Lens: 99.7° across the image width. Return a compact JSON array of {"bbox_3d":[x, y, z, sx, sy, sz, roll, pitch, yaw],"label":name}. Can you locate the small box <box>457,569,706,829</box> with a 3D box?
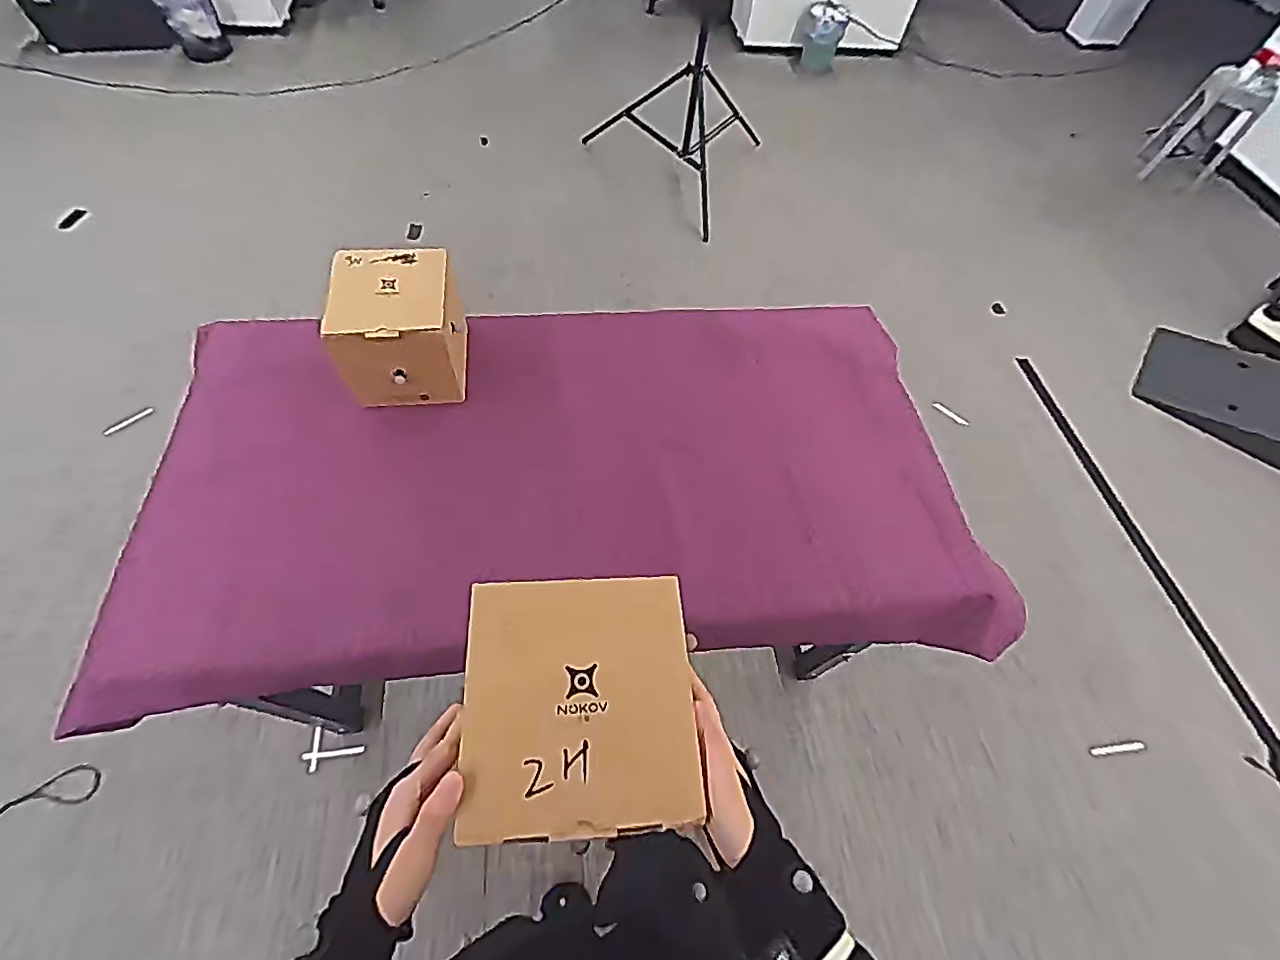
[{"bbox_3d":[-0.050,0.190,0.462,0.168,0.176,0.179,-1,59,-7],"label":"small box"}]

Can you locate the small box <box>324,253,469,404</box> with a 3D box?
[{"bbox_3d":[-0.373,-0.234,0.864,0.168,0.176,0.179,-4,62,-8],"label":"small box"}]
